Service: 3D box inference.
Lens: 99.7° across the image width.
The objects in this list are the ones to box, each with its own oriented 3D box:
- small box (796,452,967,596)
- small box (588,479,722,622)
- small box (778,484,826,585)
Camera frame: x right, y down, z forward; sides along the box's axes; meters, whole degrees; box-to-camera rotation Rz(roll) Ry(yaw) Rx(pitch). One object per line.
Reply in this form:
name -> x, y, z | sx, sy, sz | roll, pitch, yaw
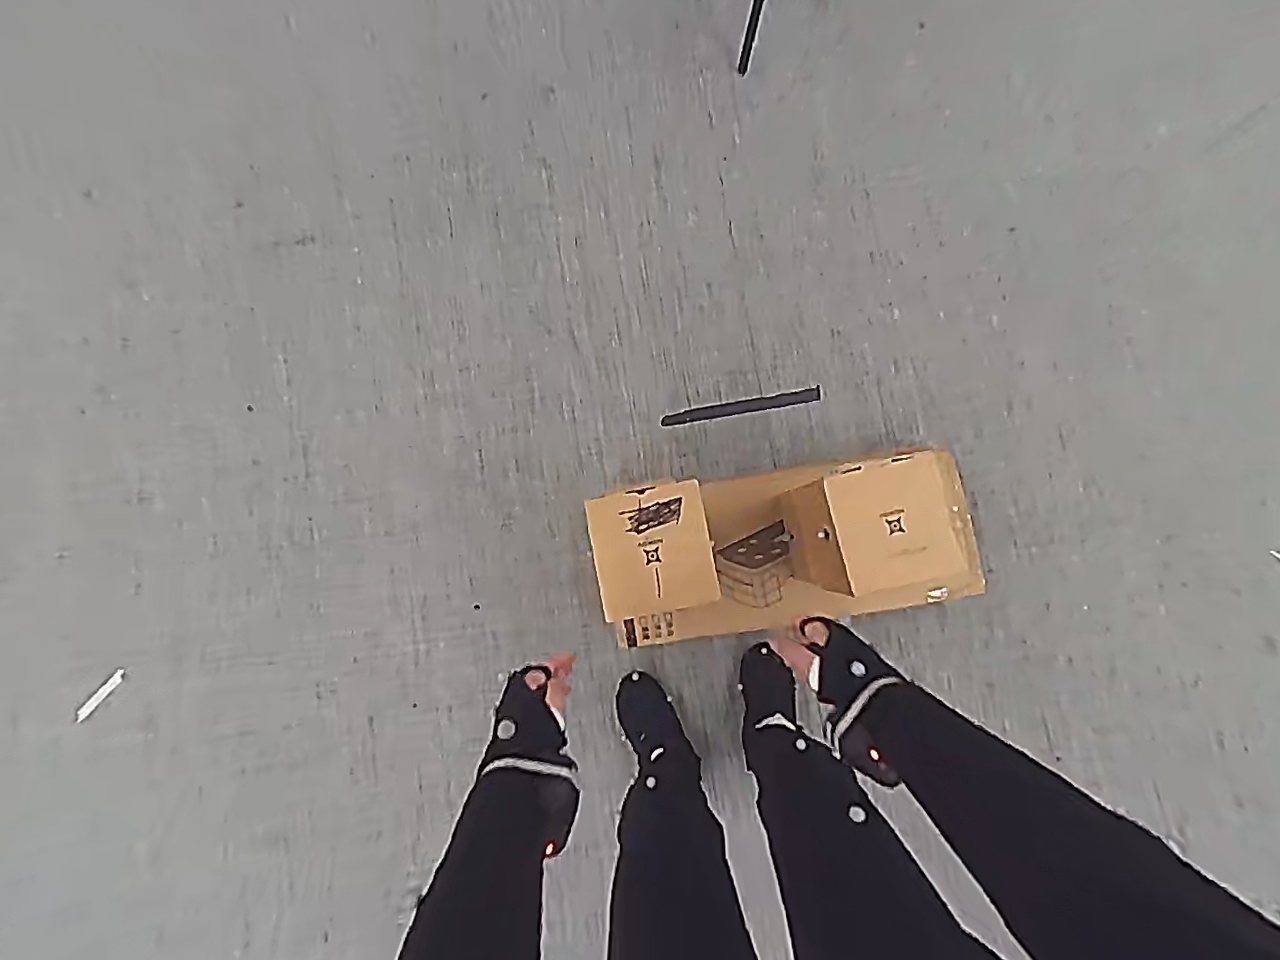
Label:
small box -> 0.356, 0.069, 0.836 | 0.168, 0.176, 0.179 | -14, 84, 0
small box -> 0.018, 0.107, 0.831 | 0.168, 0.176, 0.179 | -11, 84, -1
small box -> 0.368, 0.086, 0.997 | 0.168, 0.176, 0.179 | -11, 84, -2
